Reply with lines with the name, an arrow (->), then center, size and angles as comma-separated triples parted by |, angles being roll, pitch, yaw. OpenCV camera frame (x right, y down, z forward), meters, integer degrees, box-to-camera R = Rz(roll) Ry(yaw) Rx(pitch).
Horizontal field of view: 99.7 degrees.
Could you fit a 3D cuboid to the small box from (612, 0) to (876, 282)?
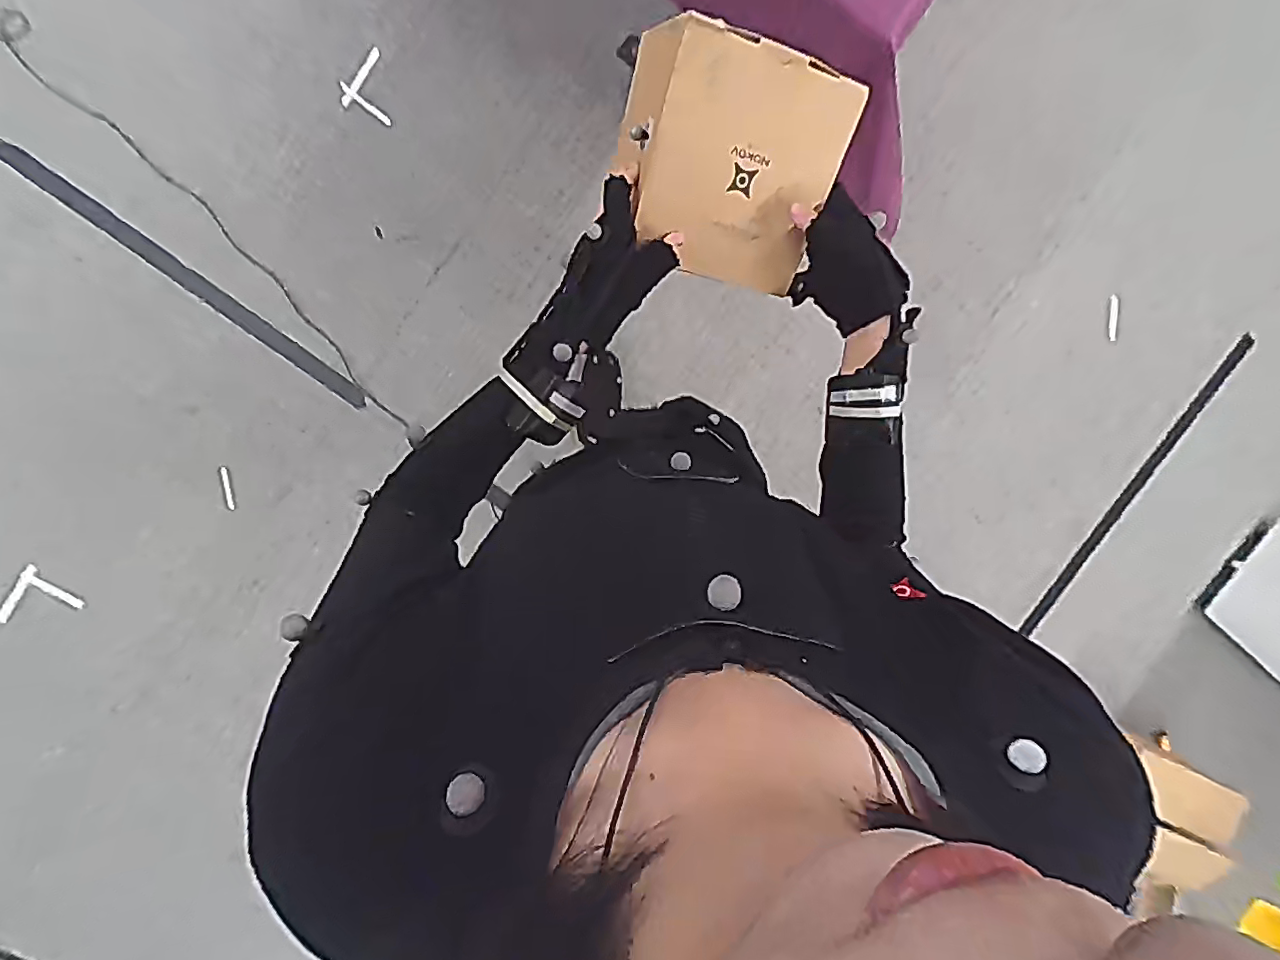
small box -> 0.077, -0.316, 0.515 | 0.168, 0.176, 0.179 | 8, 123, -17
